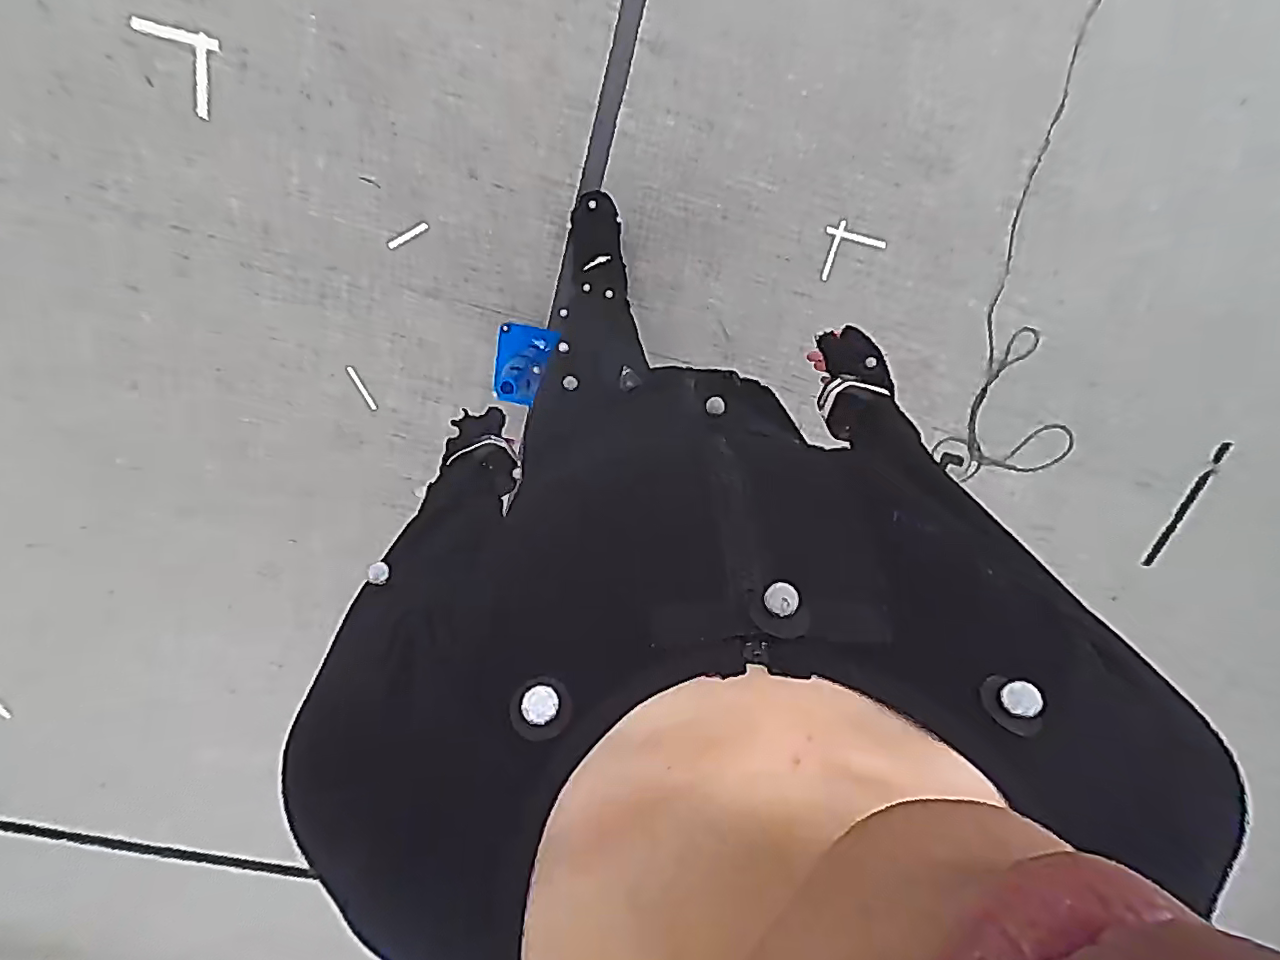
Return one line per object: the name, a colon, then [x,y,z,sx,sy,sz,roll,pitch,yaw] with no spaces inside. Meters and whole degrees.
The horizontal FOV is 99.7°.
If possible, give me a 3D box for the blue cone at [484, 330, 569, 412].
blue cone: [-0.278,-0.226,1.220,0.192,0.380,0.193,11,107,-4]
